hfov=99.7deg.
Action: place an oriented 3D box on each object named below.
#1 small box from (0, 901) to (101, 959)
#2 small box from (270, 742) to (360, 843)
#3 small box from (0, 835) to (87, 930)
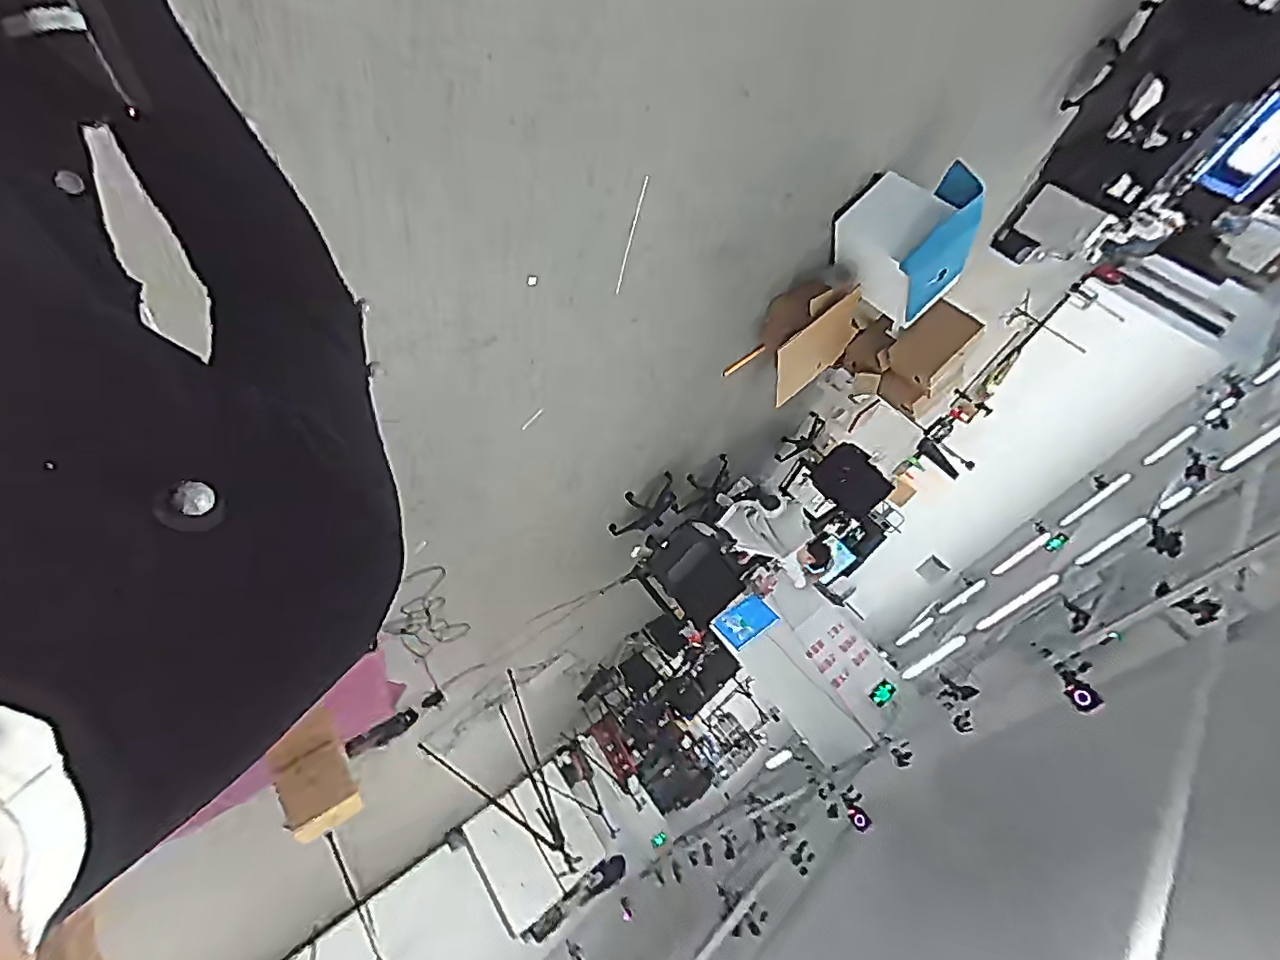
[{"bbox_3d":[-1.377,1.095,1.220,0.168,0.176,0.179,-25,153,-36],"label":"small box"},{"bbox_3d":[-0.922,0.881,1.537,0.168,0.176,0.179,-23,150,-35],"label":"small box"},{"bbox_3d":[-1.484,0.994,1.296,0.168,0.176,0.179,-23,151,-38],"label":"small box"}]
